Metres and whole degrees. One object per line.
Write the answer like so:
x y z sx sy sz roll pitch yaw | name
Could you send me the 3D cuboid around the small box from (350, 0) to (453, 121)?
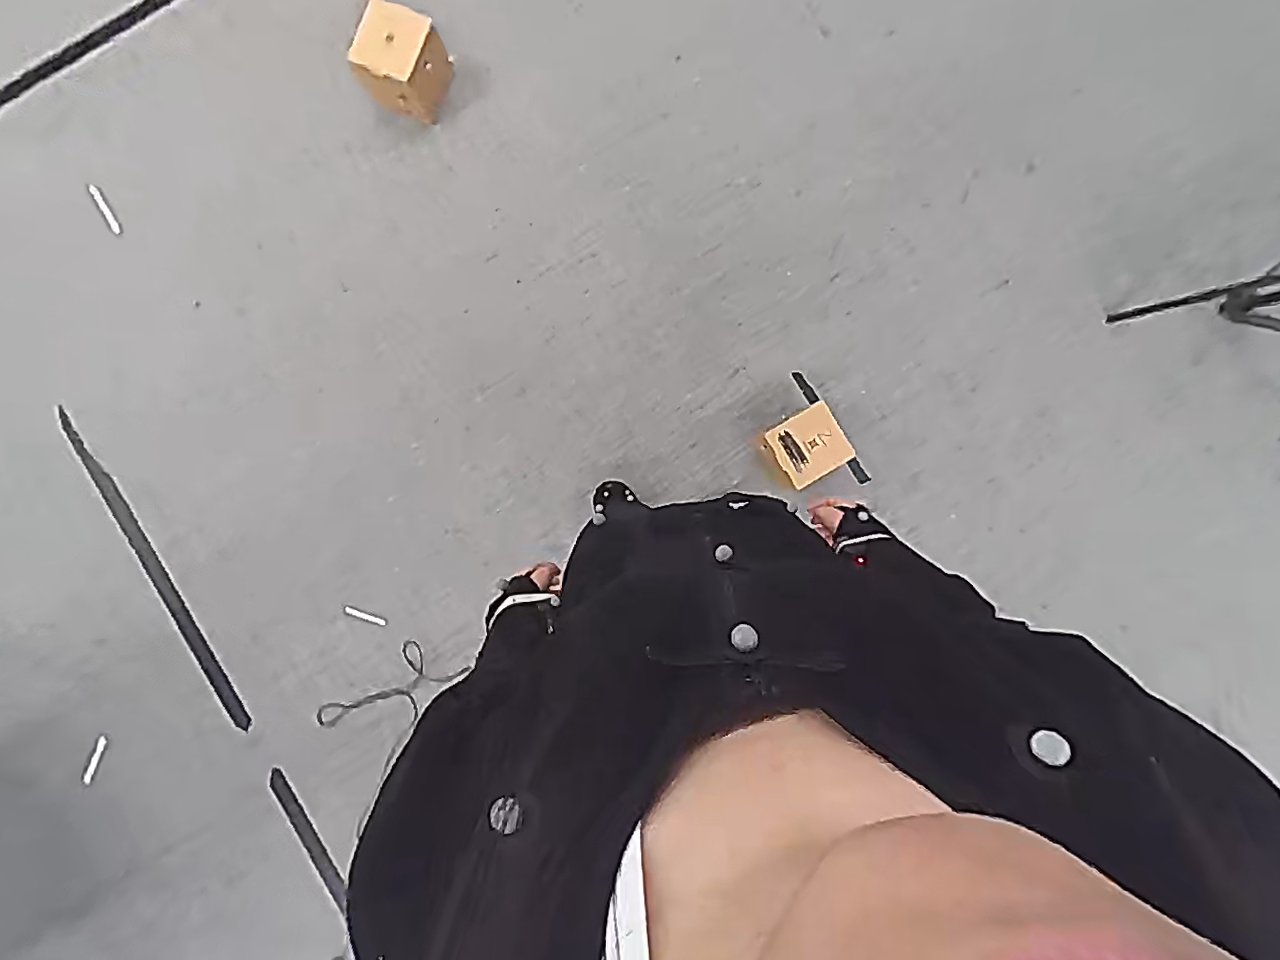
-0.620 -1.103 1.428 0.168 0.176 0.179 22 89 -1 | small box
